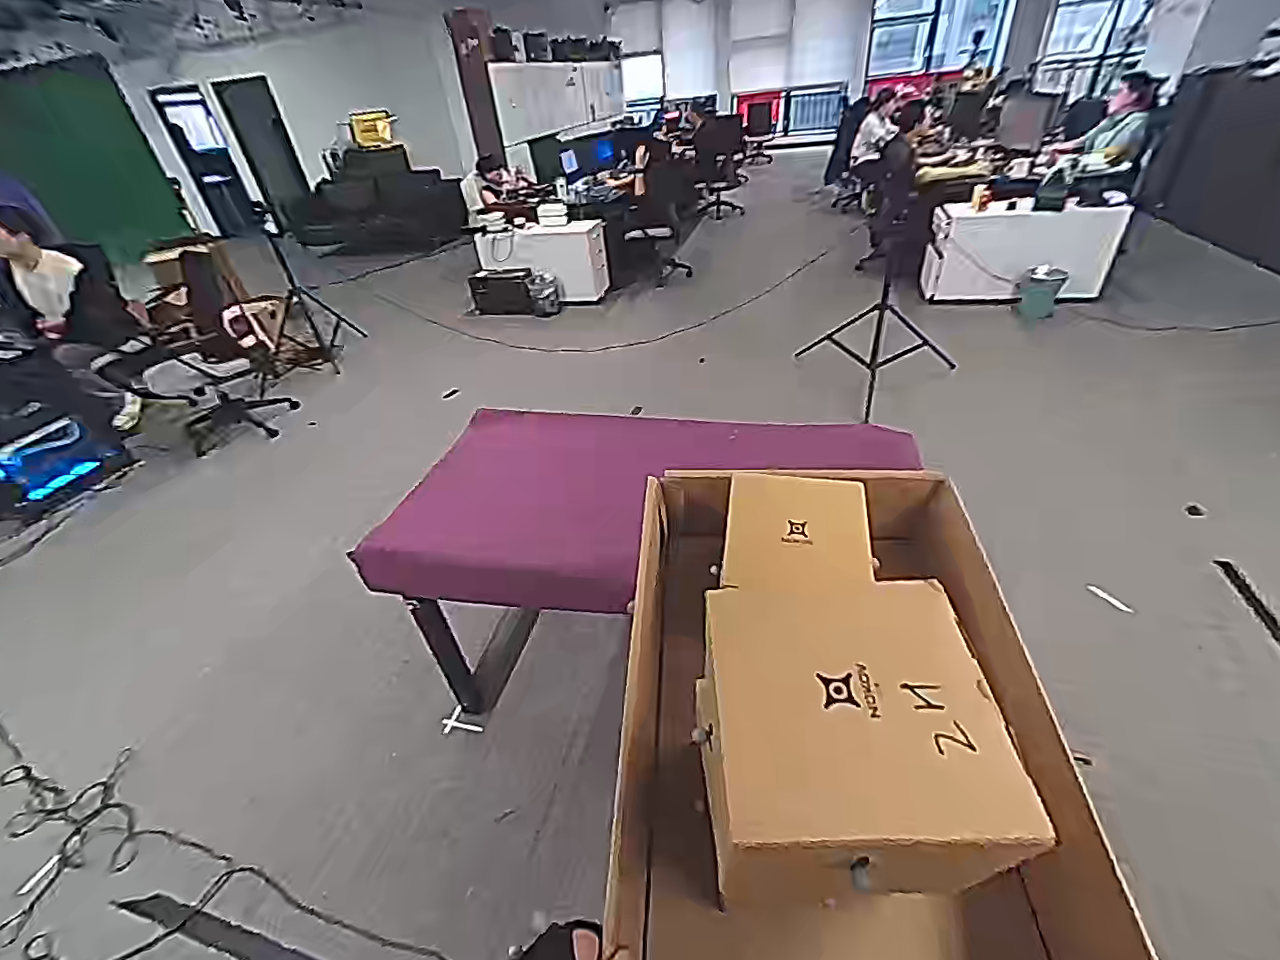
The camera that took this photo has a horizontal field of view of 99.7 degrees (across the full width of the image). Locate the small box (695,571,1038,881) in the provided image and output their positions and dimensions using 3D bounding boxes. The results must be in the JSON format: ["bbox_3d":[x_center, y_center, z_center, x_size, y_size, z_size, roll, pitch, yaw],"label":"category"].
[{"bbox_3d":[0.135,0.186,0.405,0.179,0.176,0.168,-3,45,3],"label":"small box"}]
